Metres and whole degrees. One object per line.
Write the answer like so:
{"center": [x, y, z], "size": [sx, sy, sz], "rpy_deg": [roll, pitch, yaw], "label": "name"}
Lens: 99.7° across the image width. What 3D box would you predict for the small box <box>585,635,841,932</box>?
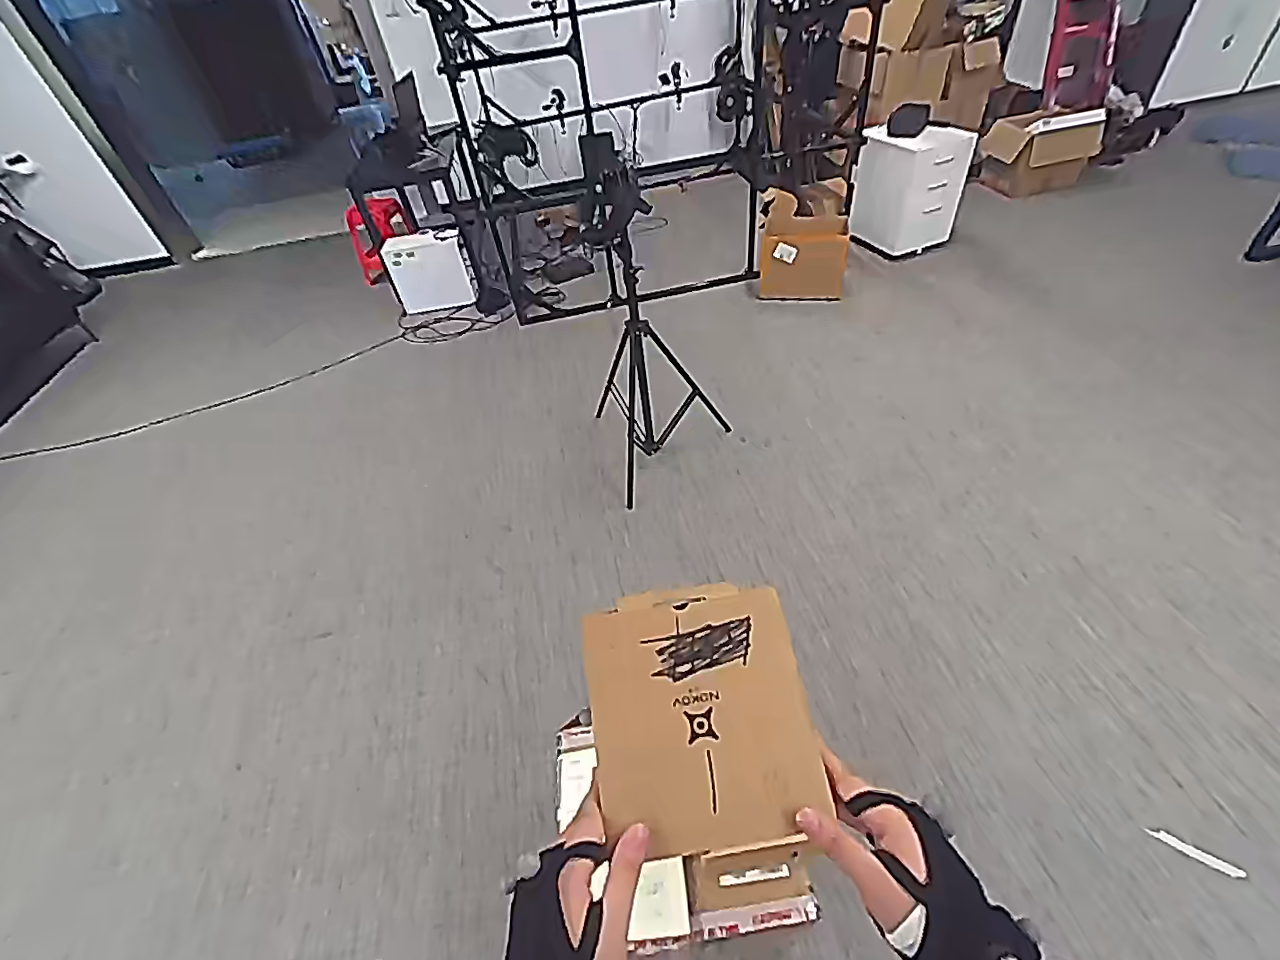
{"center": [0.045, 0.249, 0.470], "size": [0.168, 0.176, 0.179], "rpy_deg": [-8, 64, -3], "label": "small box"}
